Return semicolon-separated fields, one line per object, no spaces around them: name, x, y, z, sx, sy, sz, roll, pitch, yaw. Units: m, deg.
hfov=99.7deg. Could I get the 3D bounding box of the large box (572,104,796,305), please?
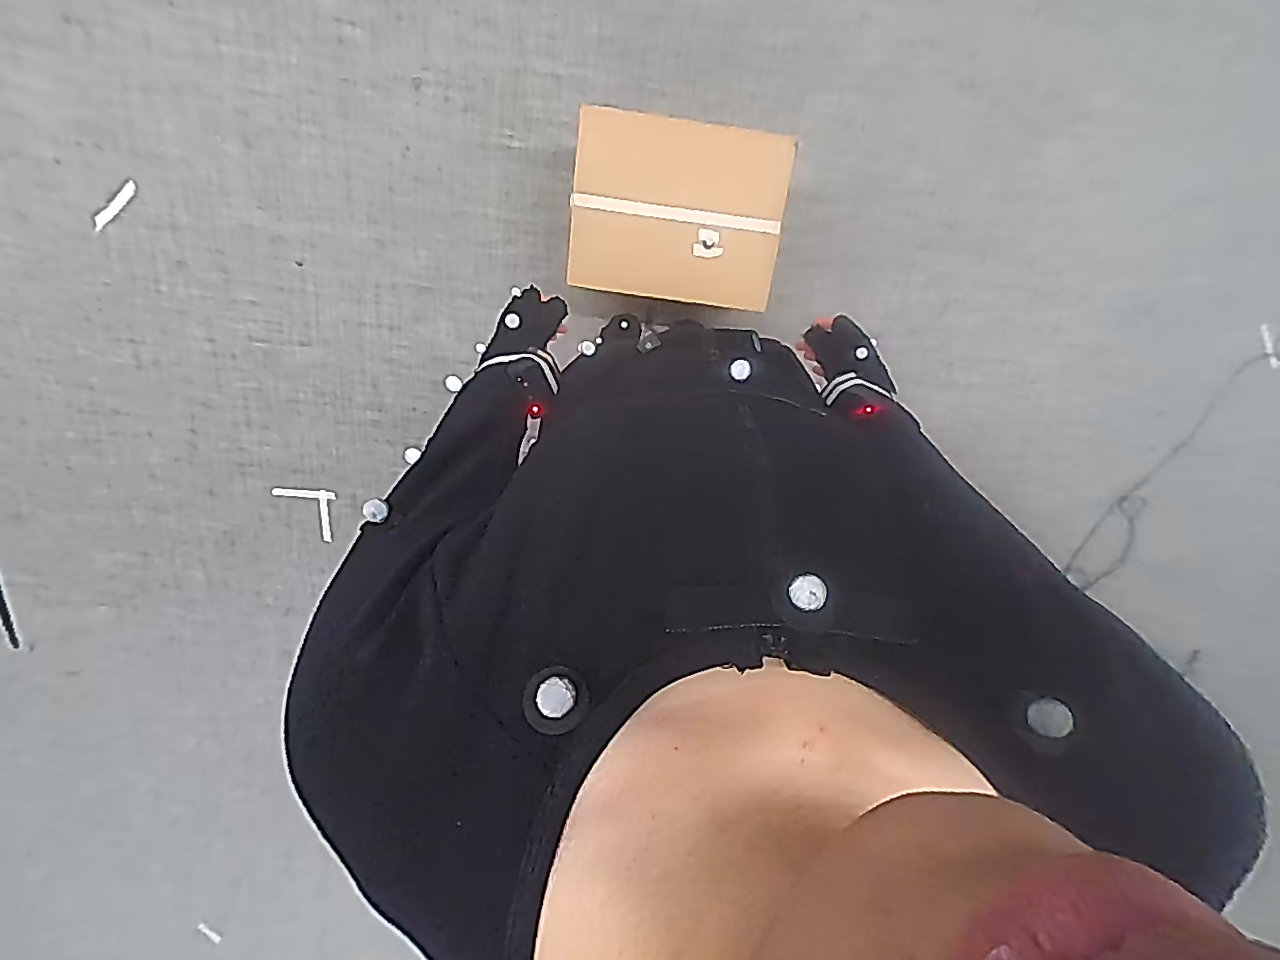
large box;0.071;-0.563;1.171;0.408;0.320;0.320;6;110;-4
